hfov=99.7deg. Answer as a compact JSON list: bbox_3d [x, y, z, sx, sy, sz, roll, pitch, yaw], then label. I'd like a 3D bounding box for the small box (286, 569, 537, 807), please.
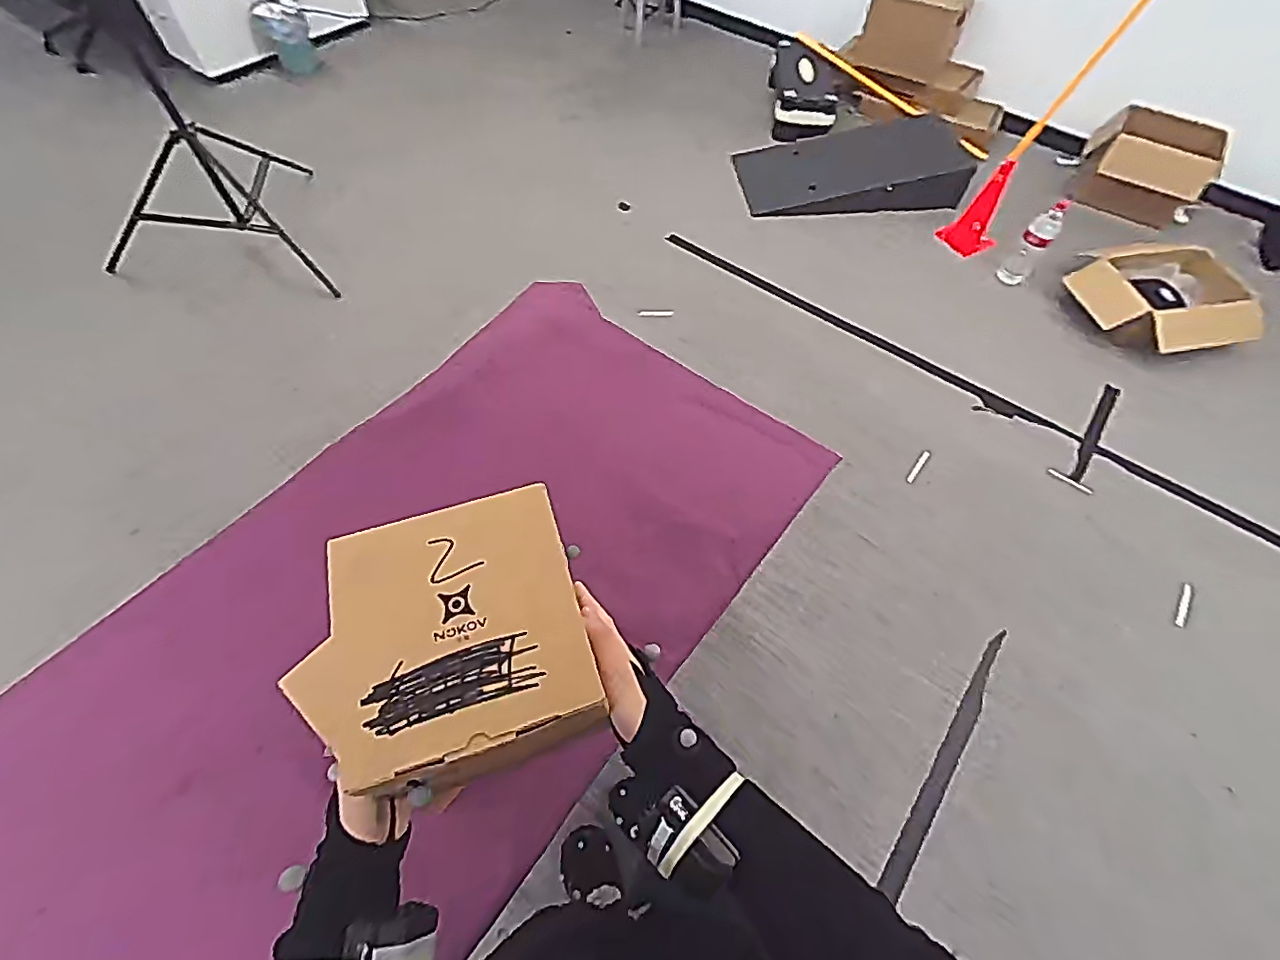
[{"bbox_3d":[-0.240,0.239,0.611,0.179,0.176,0.168,36,65,19],"label":"small box"}]
